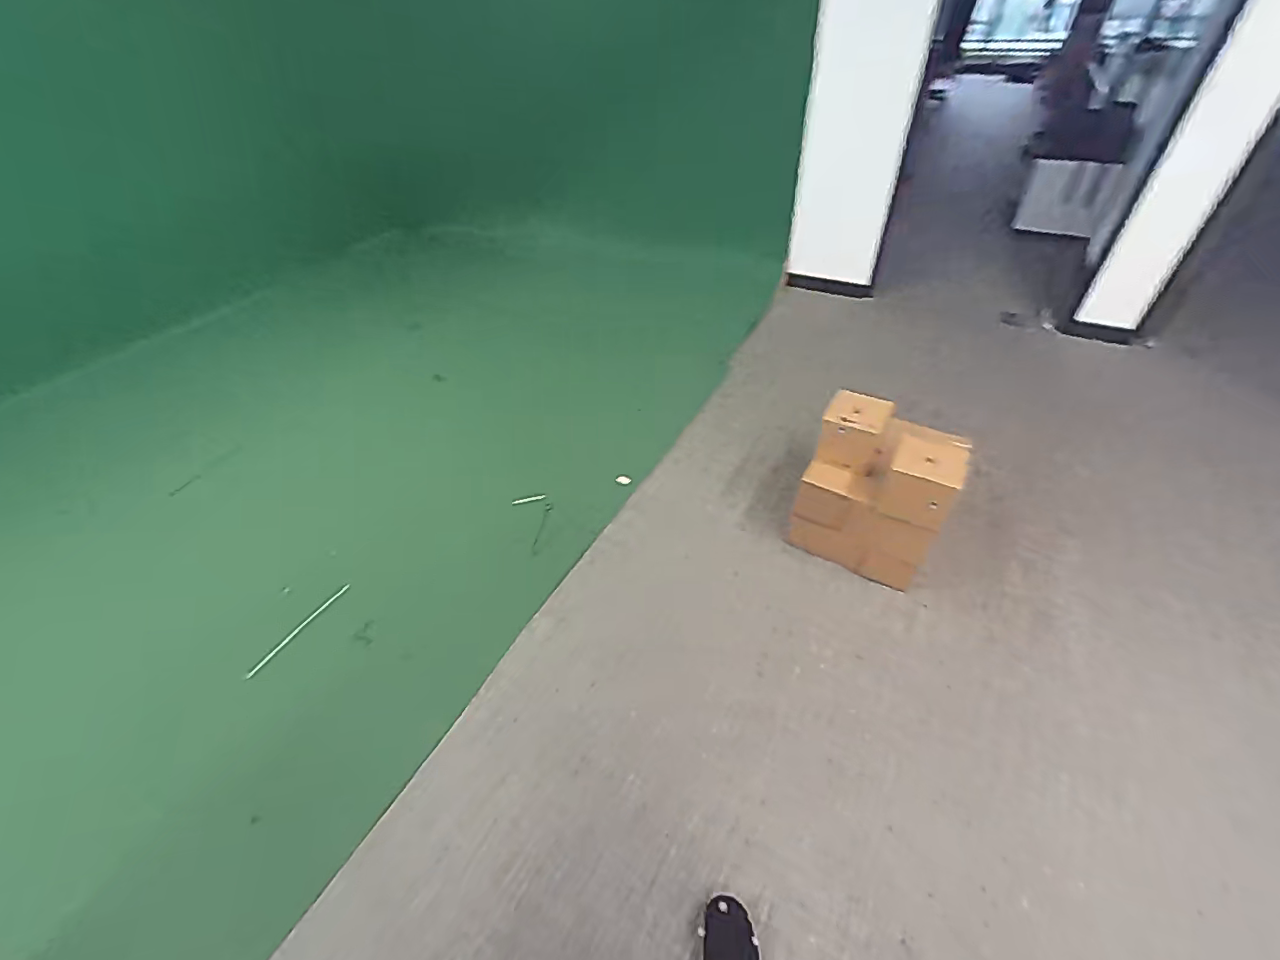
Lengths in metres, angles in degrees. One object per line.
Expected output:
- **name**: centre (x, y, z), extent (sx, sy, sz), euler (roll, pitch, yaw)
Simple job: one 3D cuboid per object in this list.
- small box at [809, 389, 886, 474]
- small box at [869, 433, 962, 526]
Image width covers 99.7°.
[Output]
- **small box**: centre (0.637, -0.150, 1.675), extent (0.168, 0.176, 0.179), euler (21, 48, 24)
- **small box**: centre (0.765, 0.002, 1.508), extent (0.179, 0.176, 0.168), euler (20, 48, 23)
